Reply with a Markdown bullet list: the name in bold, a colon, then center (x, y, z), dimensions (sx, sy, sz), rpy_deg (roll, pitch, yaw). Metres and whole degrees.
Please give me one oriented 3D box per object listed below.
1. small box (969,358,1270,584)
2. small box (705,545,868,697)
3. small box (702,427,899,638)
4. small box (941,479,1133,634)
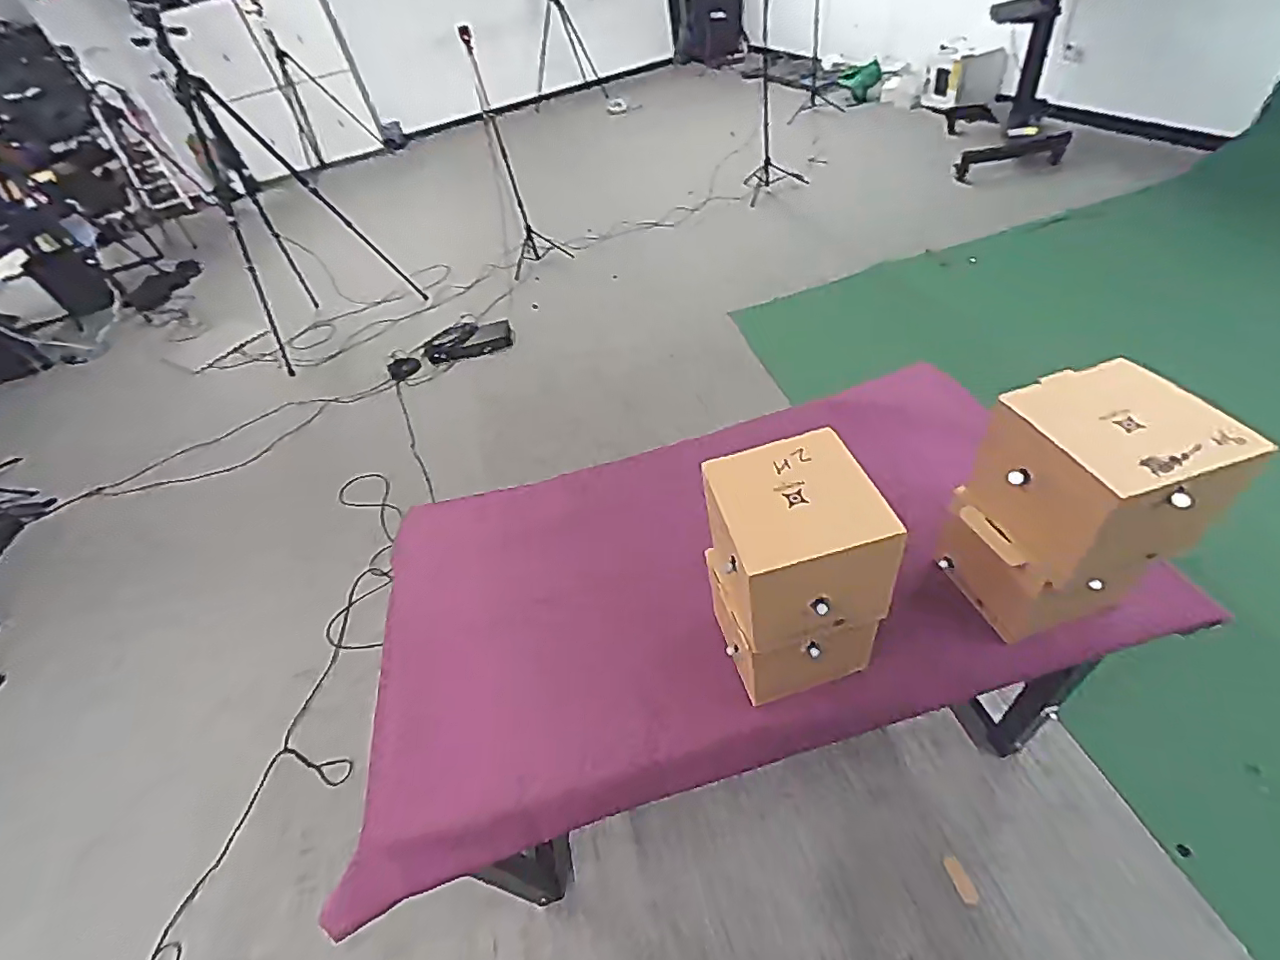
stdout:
- **small box**: center (0.526, -0.010, 0.633), dimensions (0.168, 0.176, 0.179), rpy_deg (-18, 44, -1)
- **small box**: center (0.208, 0.182, 0.770), dimensions (0.179, 0.176, 0.168), rpy_deg (-17, 44, -2)
- **small box**: center (0.183, 0.070, 0.652), dimensions (0.168, 0.176, 0.179), rpy_deg (-15, 44, 0)
- **small box**: center (0.555, 0.090, 0.762), dimensions (0.179, 0.176, 0.168), rpy_deg (-19, 45, -3)
